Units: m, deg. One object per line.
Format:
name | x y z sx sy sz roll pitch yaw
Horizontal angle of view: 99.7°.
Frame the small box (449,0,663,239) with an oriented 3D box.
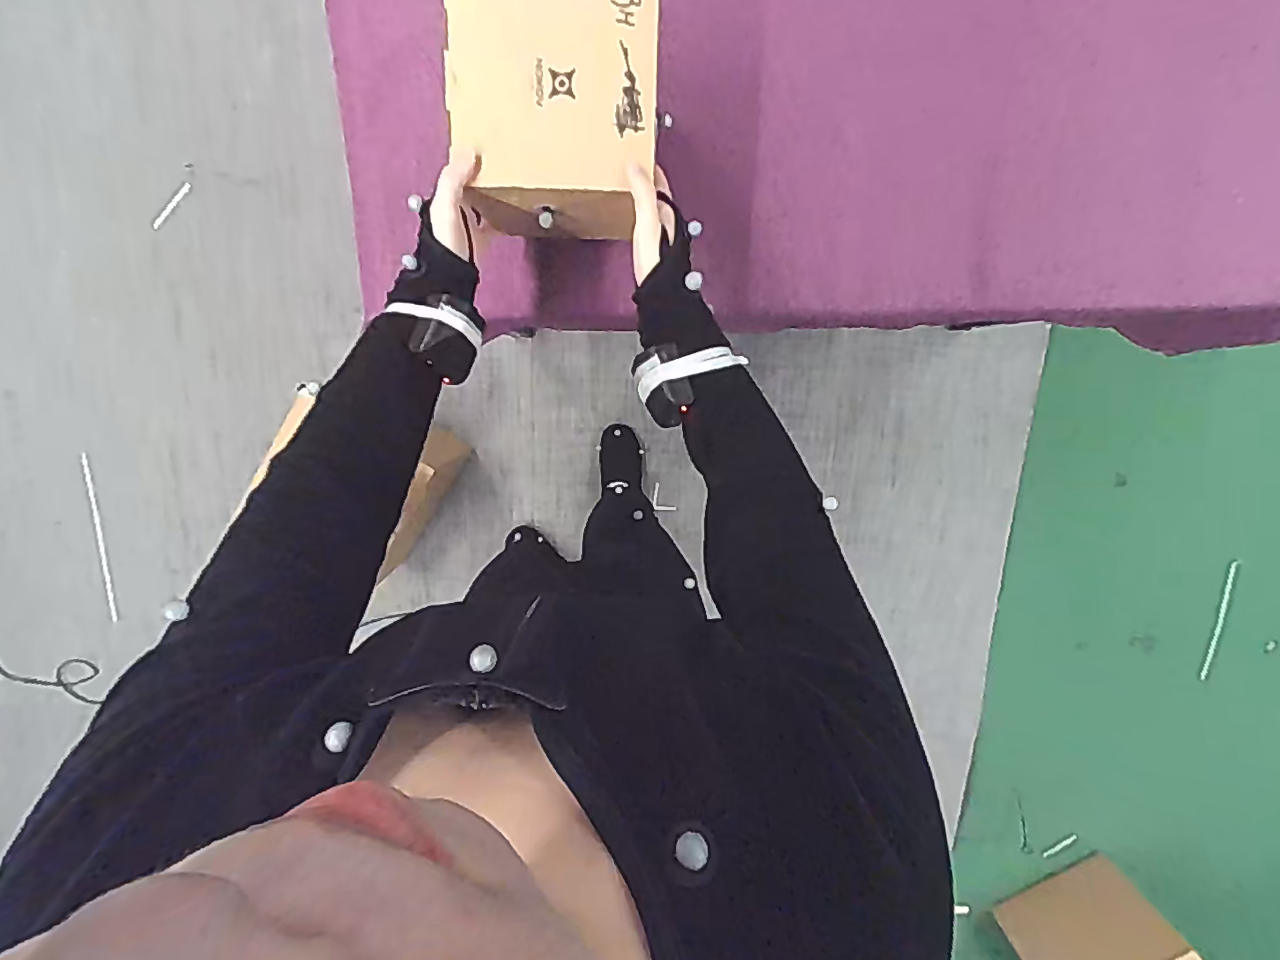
small box | -0.069 -0.342 0.528 0.179 0.176 0.168 2 102 1
